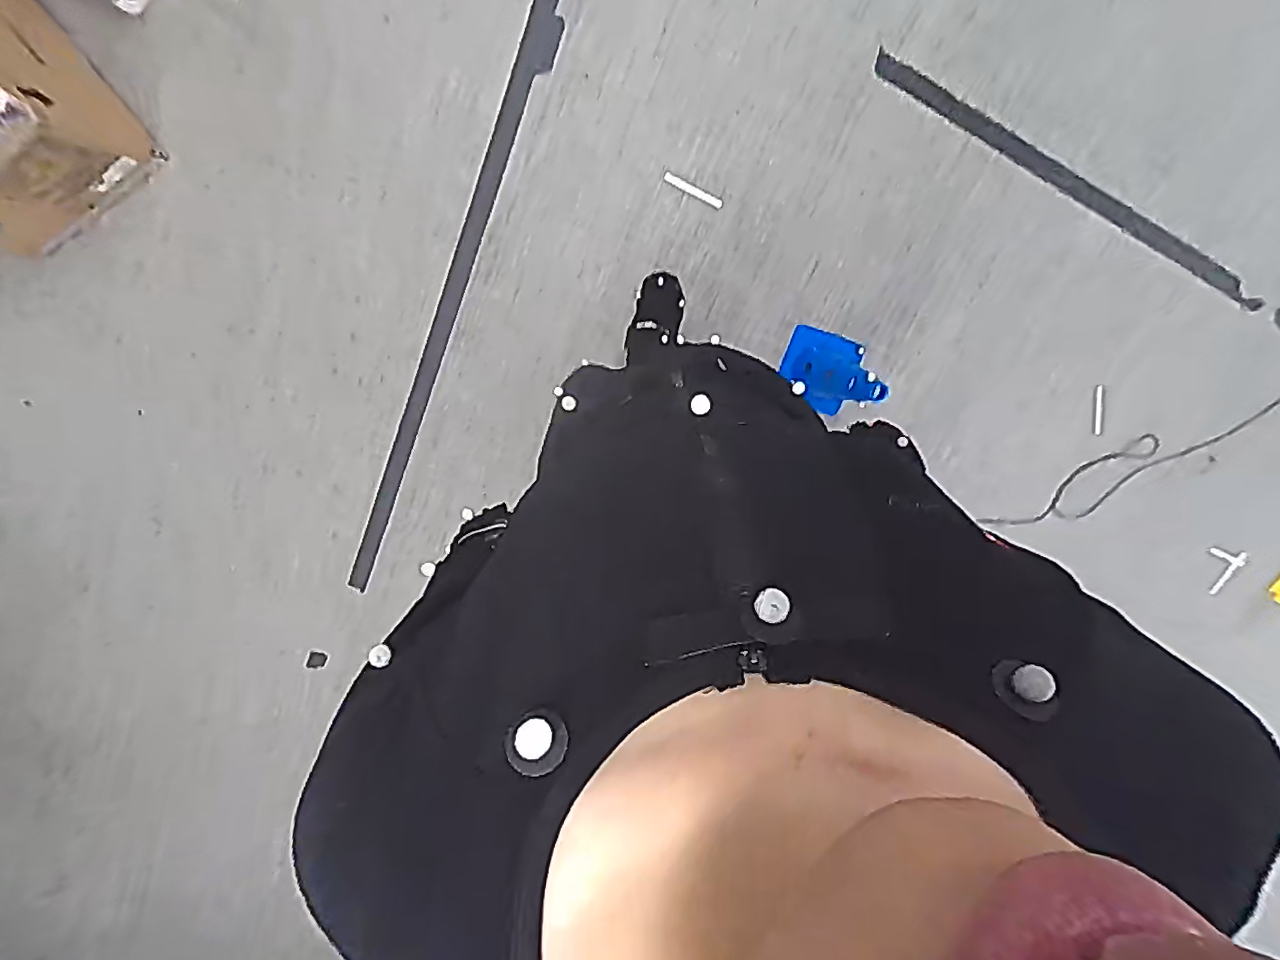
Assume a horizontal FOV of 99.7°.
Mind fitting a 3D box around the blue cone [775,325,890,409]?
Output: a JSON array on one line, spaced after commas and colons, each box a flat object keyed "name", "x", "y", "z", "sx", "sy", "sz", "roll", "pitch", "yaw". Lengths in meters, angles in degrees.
[{"name": "blue cone", "x": 0.469, "y": -0.243, "z": 1.252, "sx": 0.193, "sy": 0.380, "sz": 0.192, "roll": 18, "pitch": 106, "yaw": -8}]
